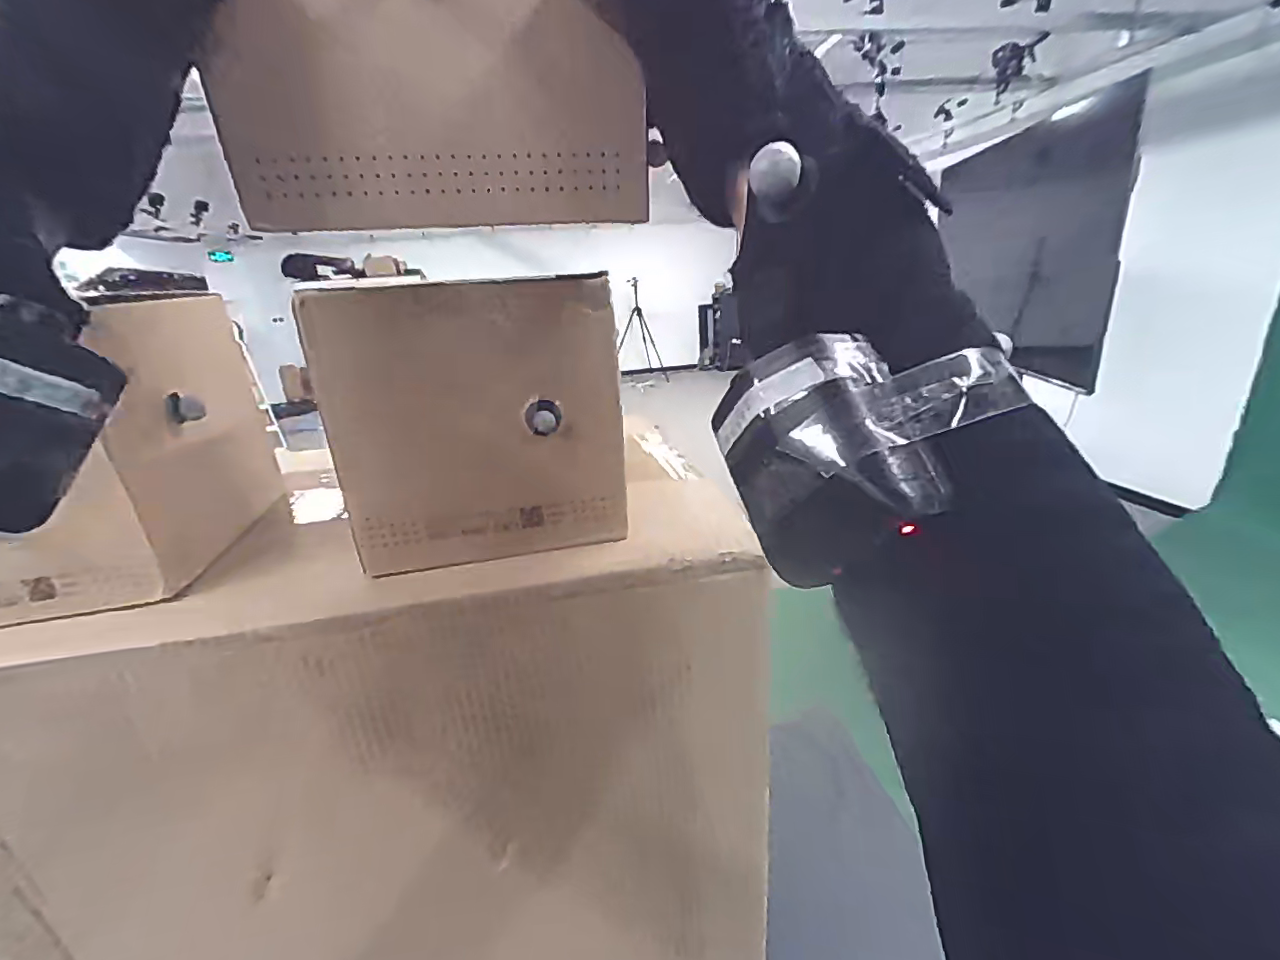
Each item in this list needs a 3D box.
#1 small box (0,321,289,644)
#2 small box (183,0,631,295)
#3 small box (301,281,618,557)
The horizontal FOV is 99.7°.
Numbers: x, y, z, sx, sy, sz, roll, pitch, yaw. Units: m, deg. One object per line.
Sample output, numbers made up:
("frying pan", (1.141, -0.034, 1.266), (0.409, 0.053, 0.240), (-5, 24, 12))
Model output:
("small box", (-0.375, -0.006, 0.369), (0.168, 0.176, 0.179), (-10, 22, -12))
("small box", (-0.098, -0.201, 0.294), (0.179, 0.176, 0.168), (-5, 27, -7))
("small box", (-0.111, -0.052, 0.399), (0.168, 0.176, 0.179), (-5, 21, -10))
